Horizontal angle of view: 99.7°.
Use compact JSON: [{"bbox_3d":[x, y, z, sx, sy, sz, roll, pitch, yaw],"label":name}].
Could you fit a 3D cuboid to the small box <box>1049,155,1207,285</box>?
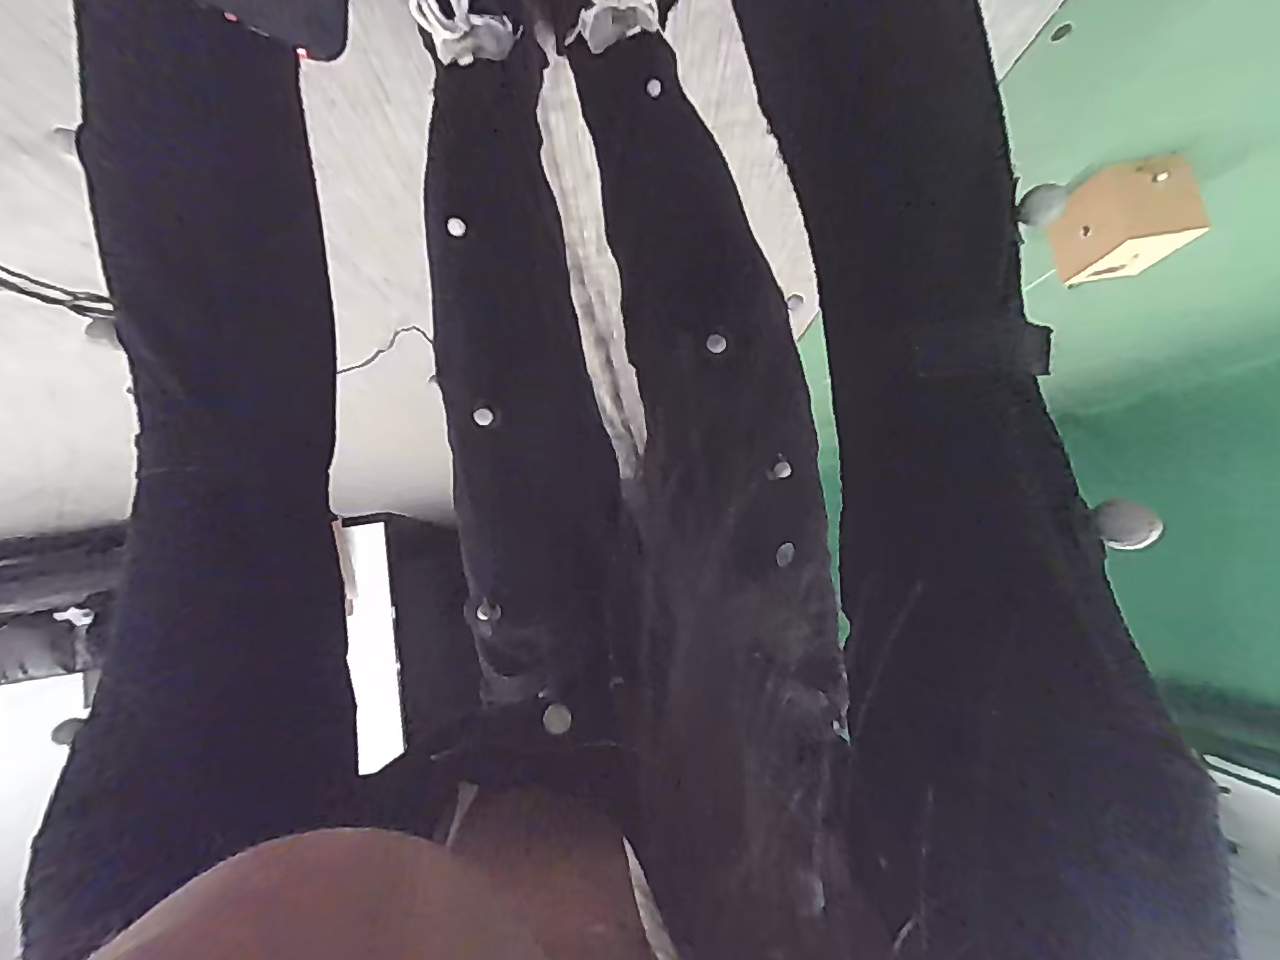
[{"bbox_3d":[0.997,-0.534,1.126,0.168,0.176,0.179,-9,171,0],"label":"small box"}]
